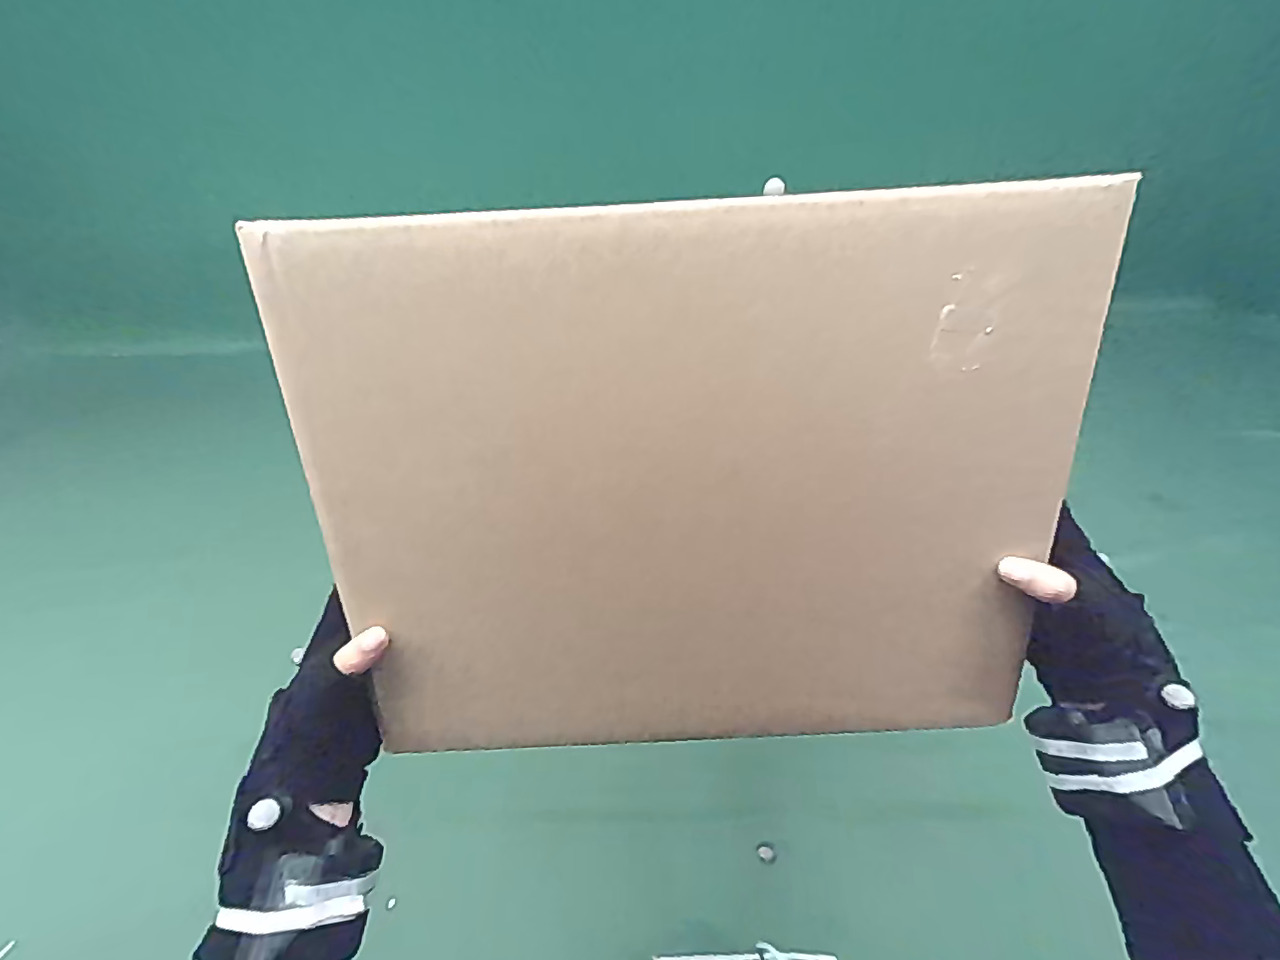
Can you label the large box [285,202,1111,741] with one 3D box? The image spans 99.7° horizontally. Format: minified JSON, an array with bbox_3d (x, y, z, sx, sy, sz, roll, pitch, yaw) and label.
[{"bbox_3d":[0.030,-0.027,0.442,0.408,0.320,0.320,-2,20,0],"label":"large box"}]
